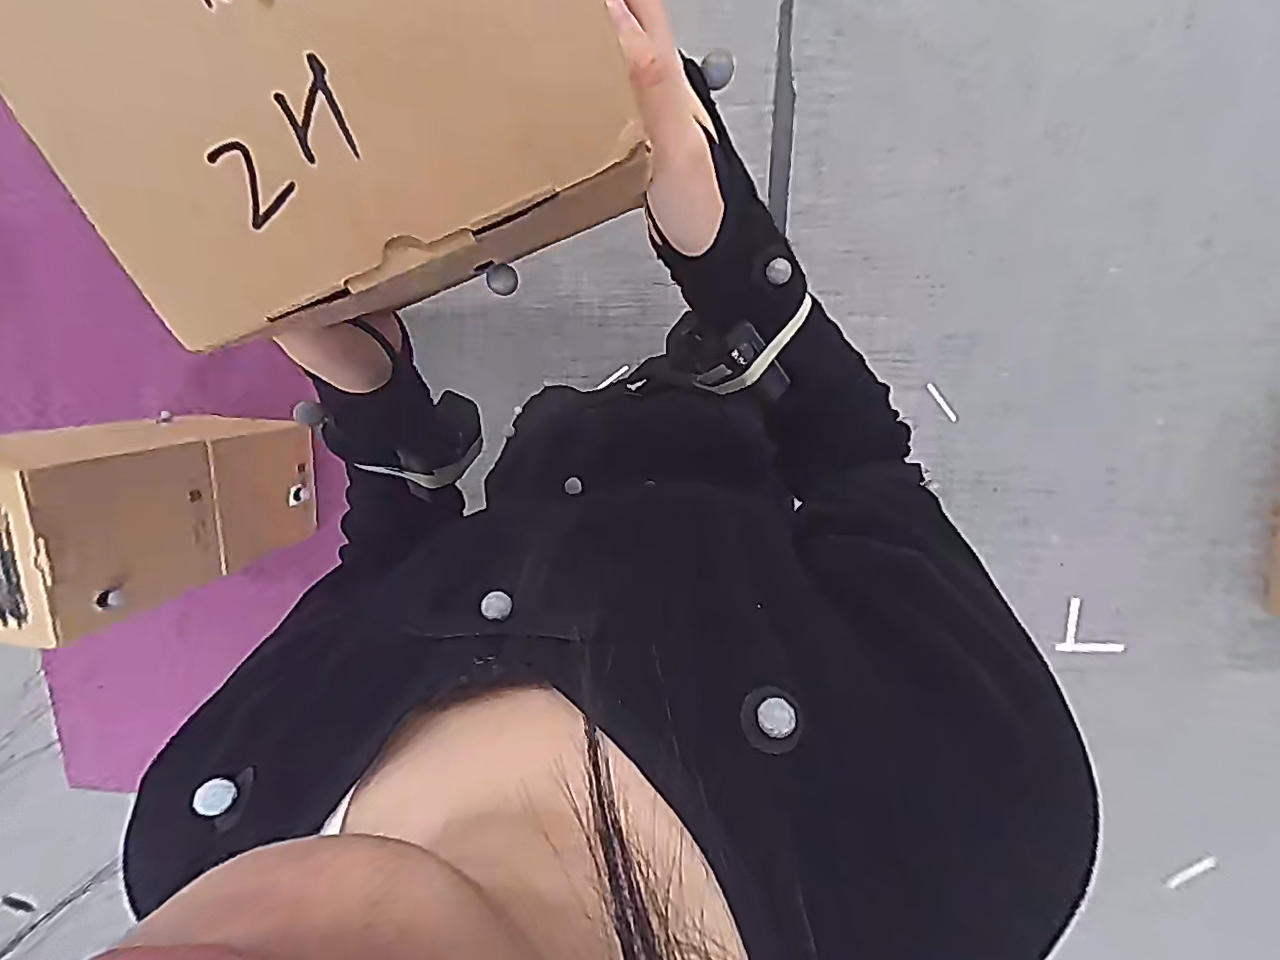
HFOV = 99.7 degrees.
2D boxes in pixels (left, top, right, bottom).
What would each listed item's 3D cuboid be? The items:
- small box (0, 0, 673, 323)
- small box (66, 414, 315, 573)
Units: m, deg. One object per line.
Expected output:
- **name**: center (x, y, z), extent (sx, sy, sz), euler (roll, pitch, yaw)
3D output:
- **small box**: center (-0.095, -0.179, 0.210), extent (0.168, 0.176, 0.179), euler (-19, 112, 7)
- **small box**: center (-0.561, 0.006, 0.699), extent (0.179, 0.176, 0.168), euler (4, 103, 4)
